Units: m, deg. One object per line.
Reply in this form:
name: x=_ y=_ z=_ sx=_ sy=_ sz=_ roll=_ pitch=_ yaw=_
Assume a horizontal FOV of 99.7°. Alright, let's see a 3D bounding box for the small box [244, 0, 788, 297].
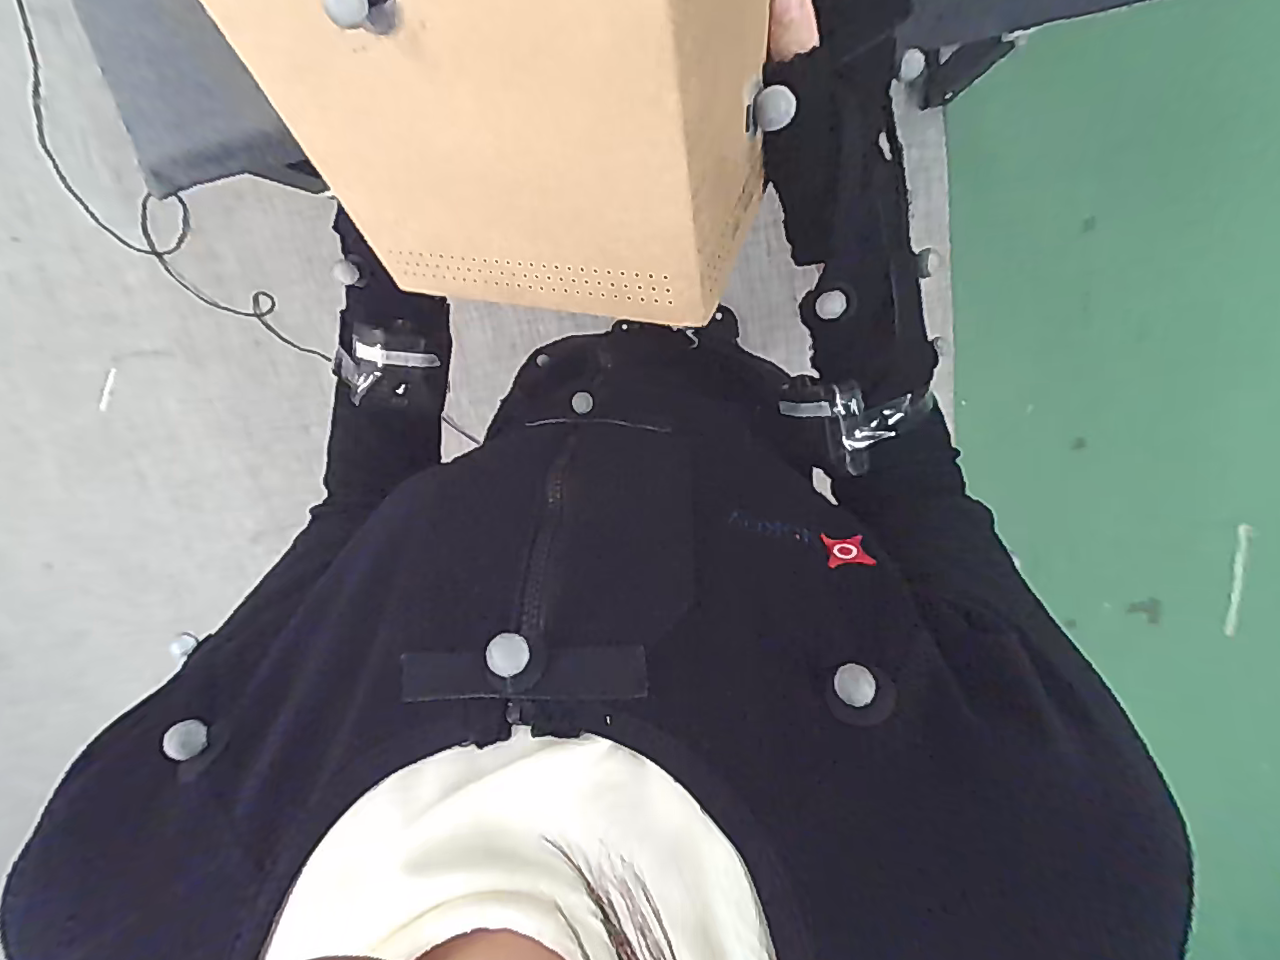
small box: x=-0.040 y=-0.202 z=0.233 sx=0.179 sy=0.168 sz=0.176 roll=14 pitch=153 yaw=19
